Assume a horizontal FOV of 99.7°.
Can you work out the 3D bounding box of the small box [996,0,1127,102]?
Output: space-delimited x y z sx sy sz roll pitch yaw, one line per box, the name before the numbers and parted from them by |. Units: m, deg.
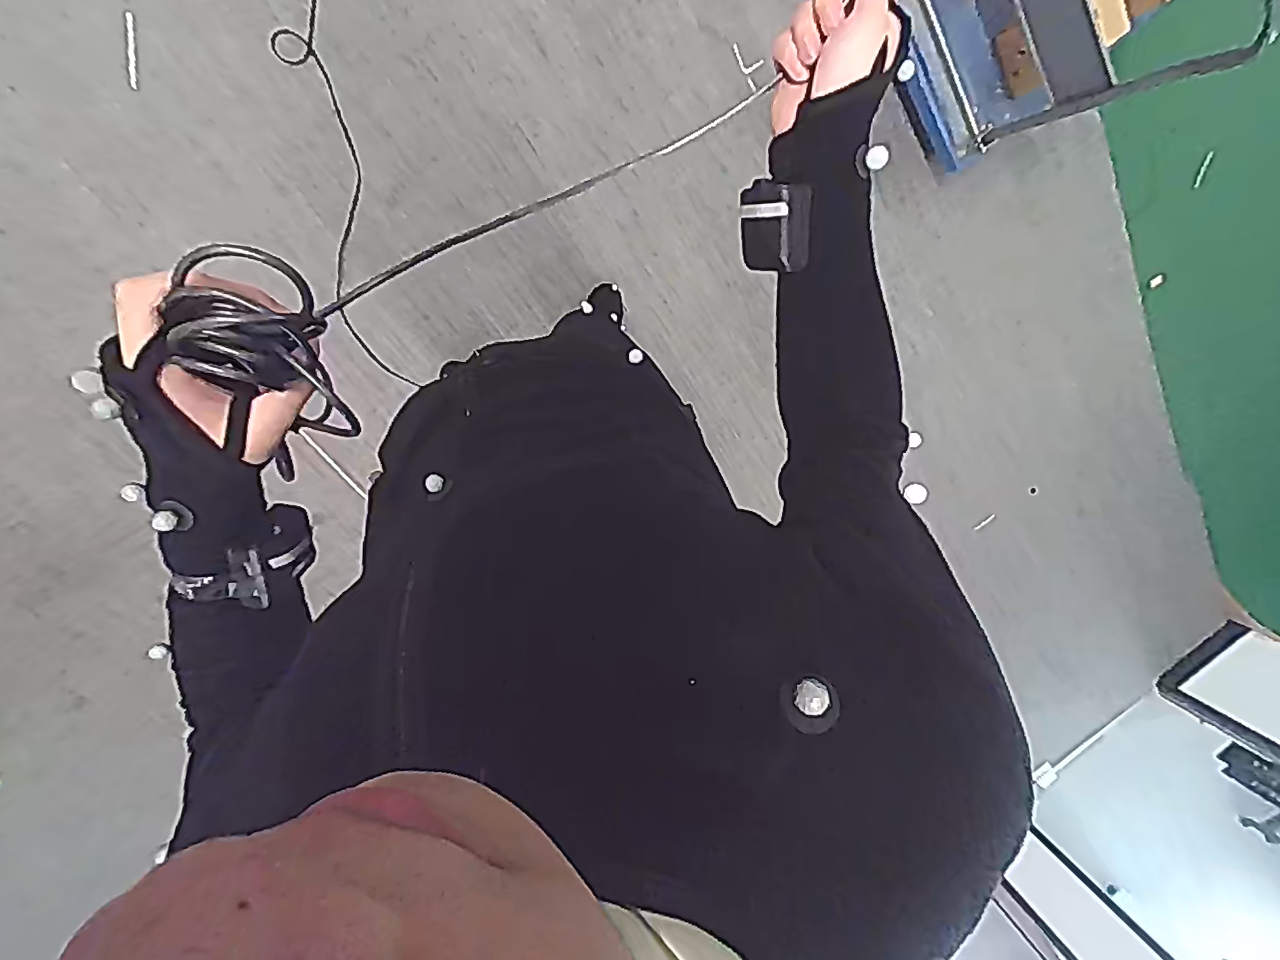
small box | 1.042 -1.096 1.346 0.179 0.176 0.168 -37 111 0
